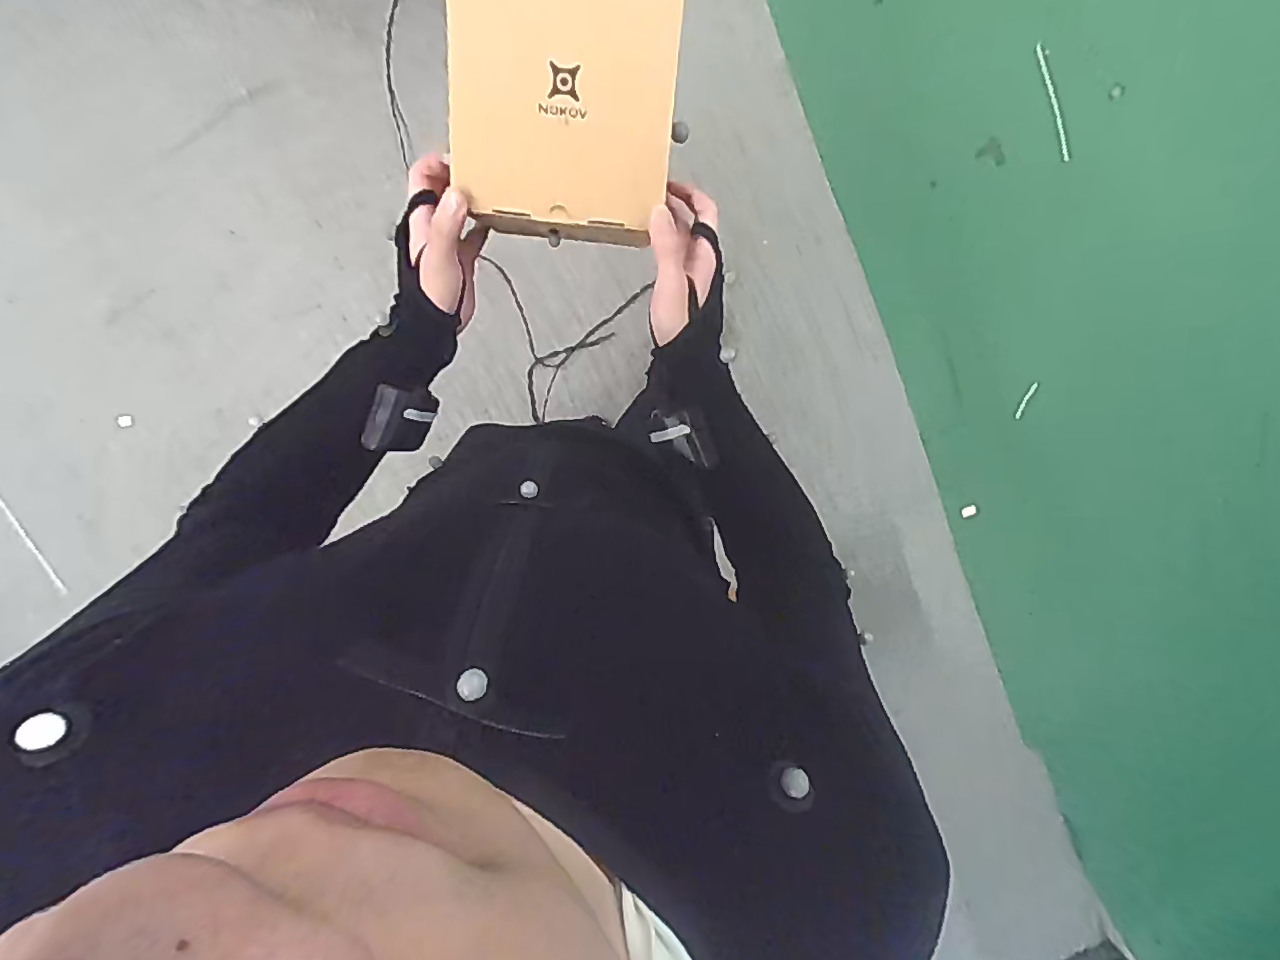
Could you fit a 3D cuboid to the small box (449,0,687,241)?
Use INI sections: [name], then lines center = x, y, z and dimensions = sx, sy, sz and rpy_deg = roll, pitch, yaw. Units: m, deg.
[small box]
center = -0.061, -0.313, 0.465
dimensions = 0.168, 0.176, 0.179
rpy_deg = 3, 110, -6
